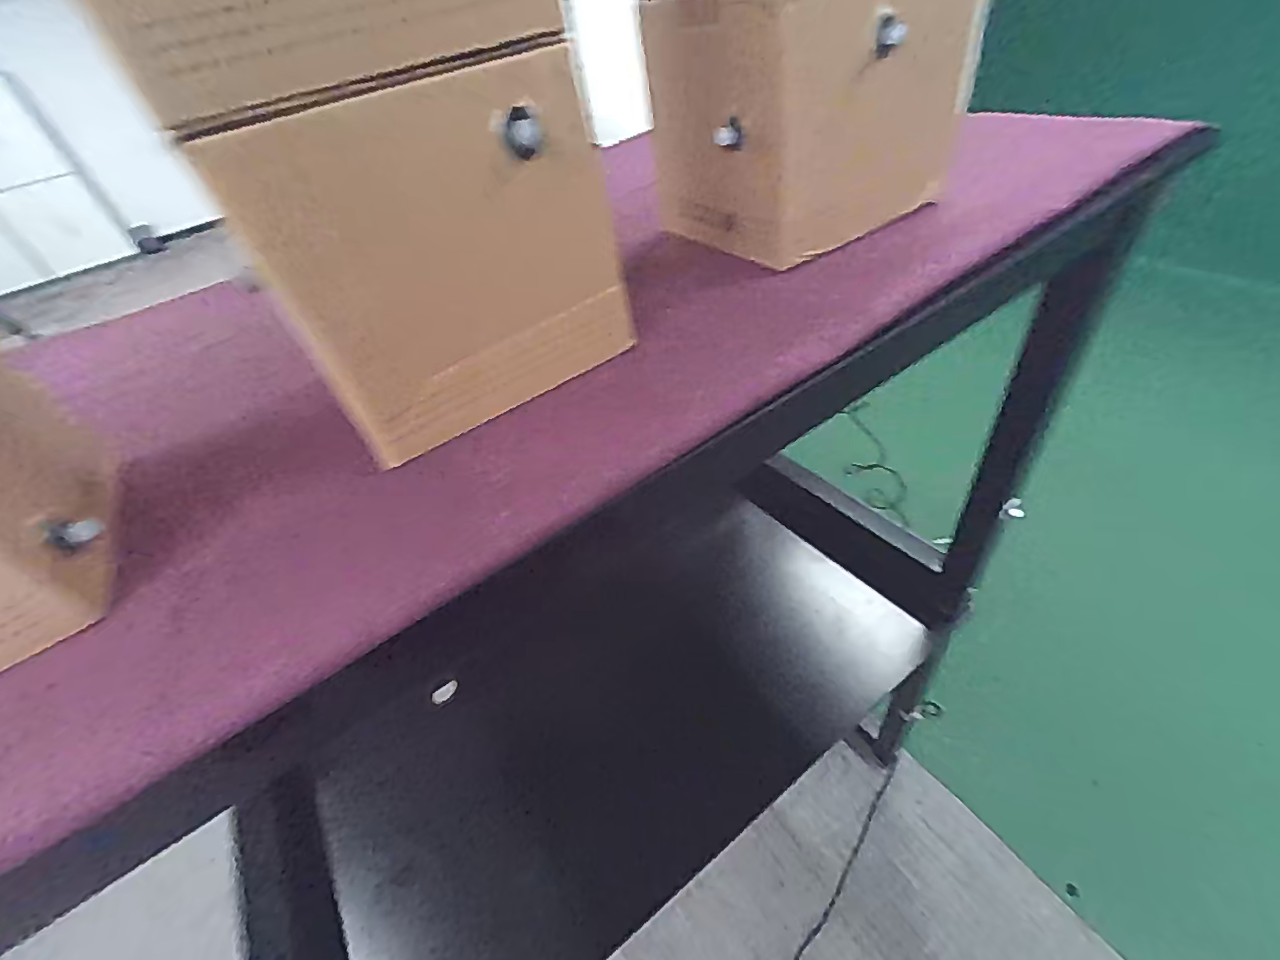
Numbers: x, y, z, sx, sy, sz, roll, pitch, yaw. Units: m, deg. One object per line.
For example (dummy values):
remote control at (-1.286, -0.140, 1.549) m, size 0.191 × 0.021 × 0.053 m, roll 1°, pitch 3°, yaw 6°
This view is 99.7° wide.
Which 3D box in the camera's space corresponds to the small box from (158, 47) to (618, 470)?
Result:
small box at (-0.137, -0.135, 0.331) m, size 0.179 × 0.176 × 0.168 m, roll -32°, pitch 45°, yaw -20°
